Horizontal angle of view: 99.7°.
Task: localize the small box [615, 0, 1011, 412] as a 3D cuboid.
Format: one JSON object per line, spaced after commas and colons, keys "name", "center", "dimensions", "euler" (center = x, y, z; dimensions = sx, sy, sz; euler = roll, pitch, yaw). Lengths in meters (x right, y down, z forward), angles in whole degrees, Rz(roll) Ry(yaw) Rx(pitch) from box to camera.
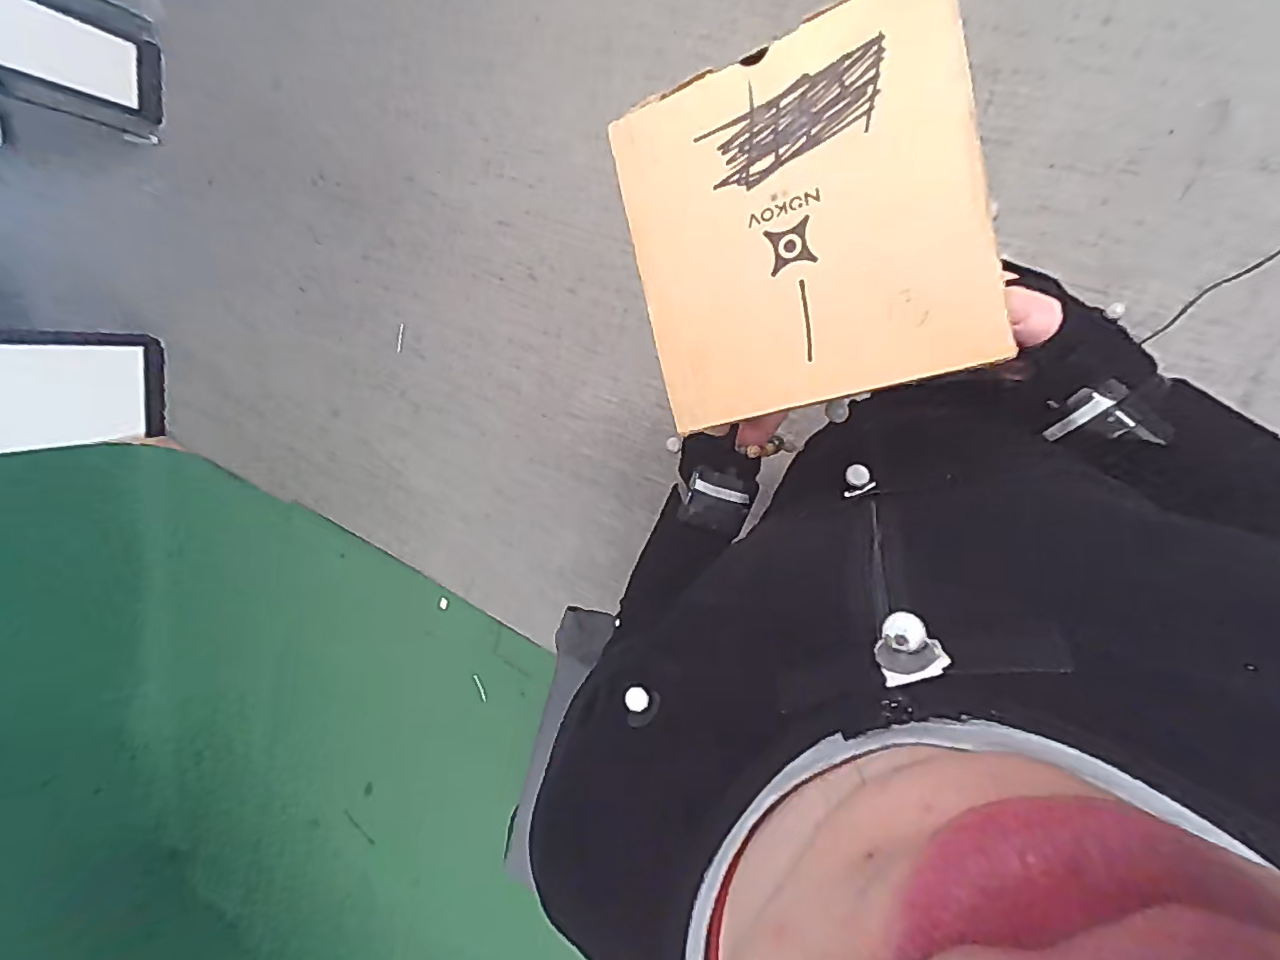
{"name": "small box", "center": [0.108, -0.146, 0.338], "dimensions": [0.168, 0.176, 0.179], "euler": [-10, 96, 27]}
